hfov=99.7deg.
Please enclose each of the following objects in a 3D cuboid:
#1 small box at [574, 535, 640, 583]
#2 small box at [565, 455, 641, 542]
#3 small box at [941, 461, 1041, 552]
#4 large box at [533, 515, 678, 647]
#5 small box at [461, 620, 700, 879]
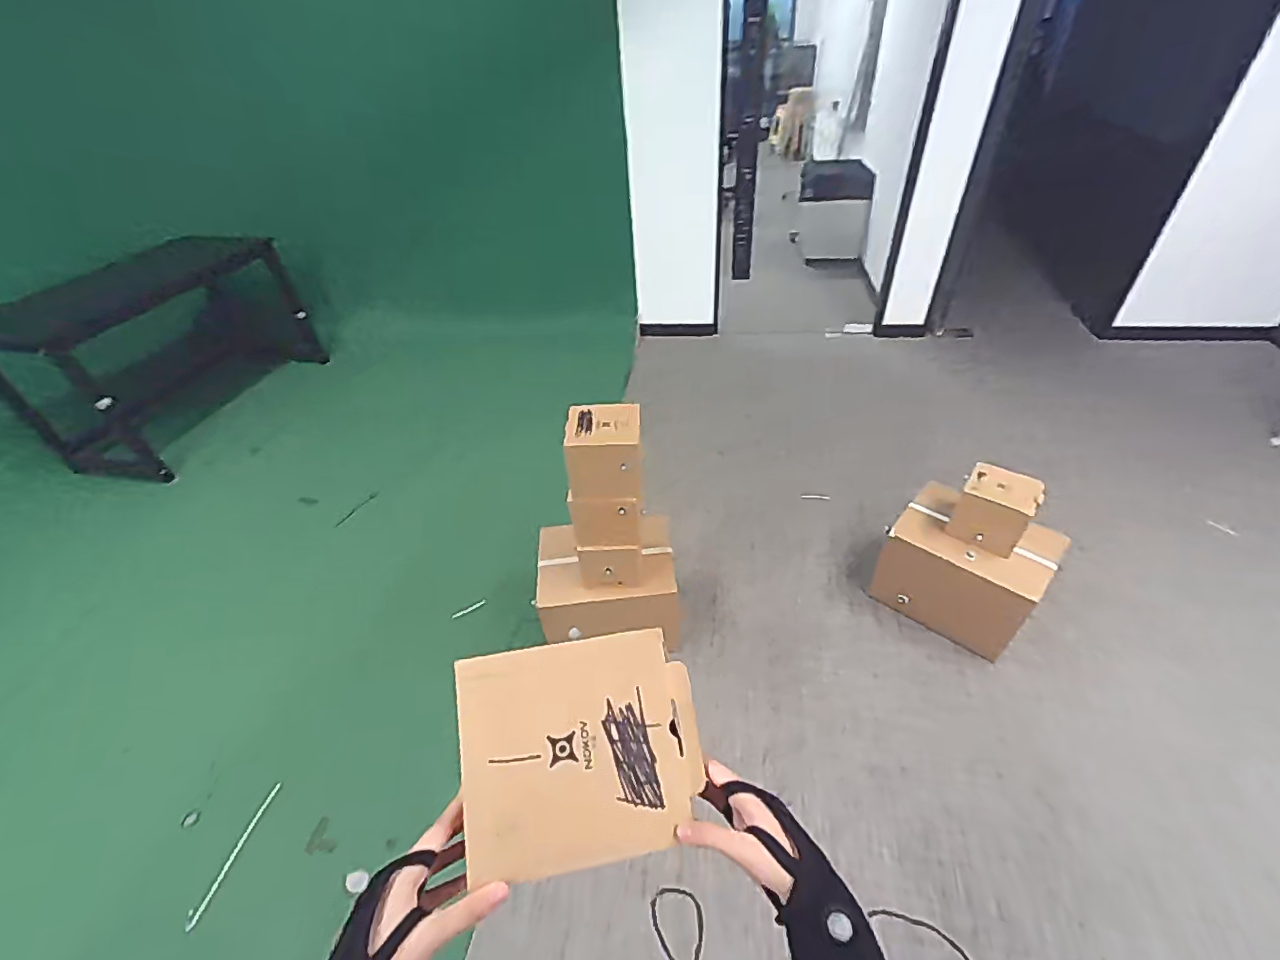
[{"bbox_3d":[-0.087,0.178,1.527,0.168,0.176,0.179,-2,41,2],"label":"small box"},{"bbox_3d":[-0.091,0.052,1.425,0.179,0.176,0.168,-1,41,2],"label":"small box"},{"bbox_3d":[1.003,0.080,1.554,0.179,0.176,0.168,27,48,29],"label":"small box"},{"bbox_3d":[-0.103,0.345,1.710,0.408,0.320,0.320,-7,40,-1],"label":"large box"},{"bbox_3d":[-0.059,0.229,0.502,0.179,0.176,0.168,-6,71,-9],"label":"small box"}]
